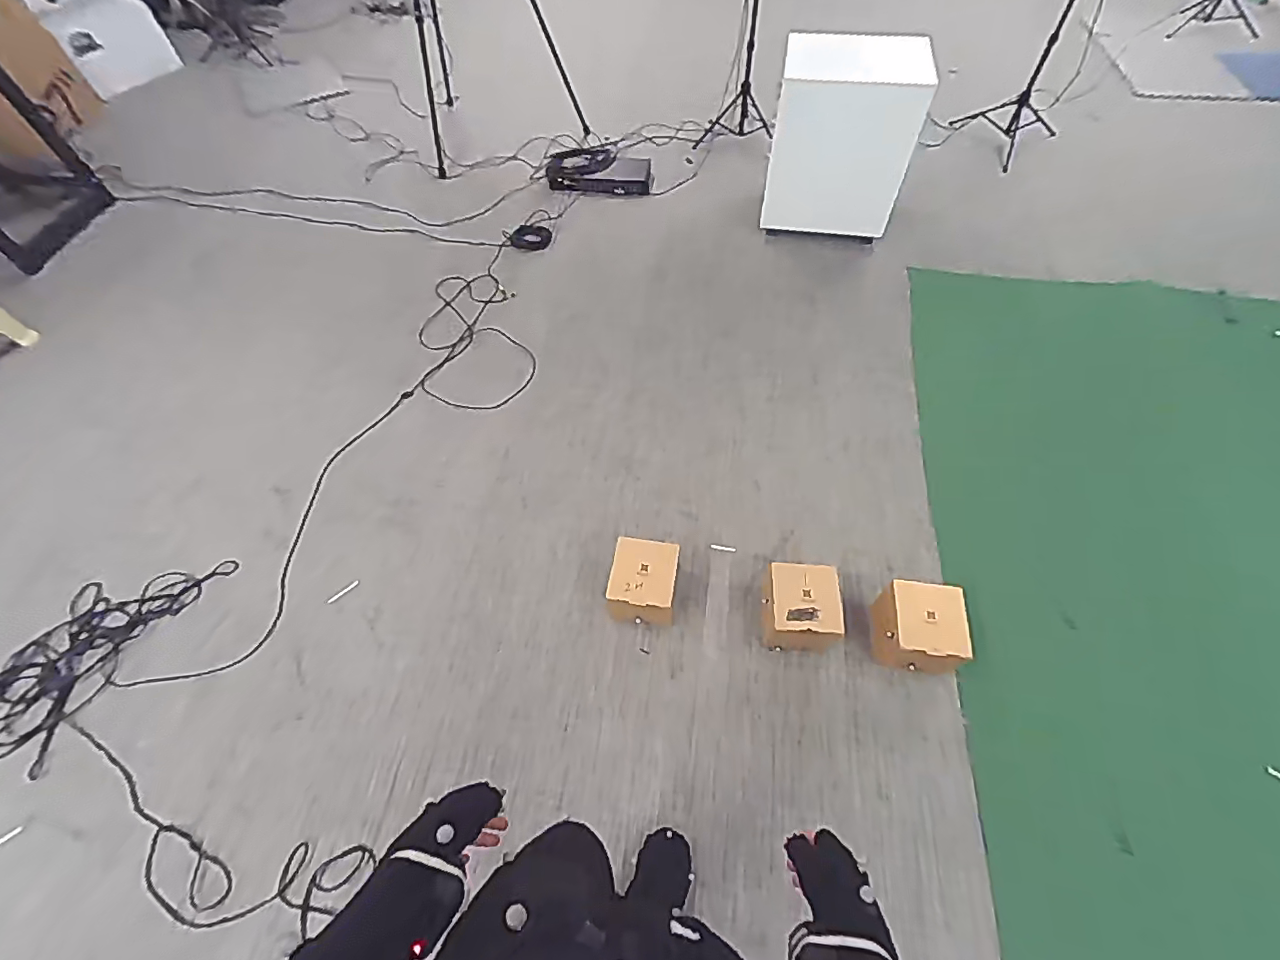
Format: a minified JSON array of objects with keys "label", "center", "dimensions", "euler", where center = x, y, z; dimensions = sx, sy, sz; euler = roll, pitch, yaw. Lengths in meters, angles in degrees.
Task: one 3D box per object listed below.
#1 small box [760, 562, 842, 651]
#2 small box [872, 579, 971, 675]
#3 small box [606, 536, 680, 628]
[{"label":"small box","center":[0.407,0.331,1.394],"dimensions":[0.168,0.176,0.179],"euler":[4,57,4]},{"label":"small box","center":[0.696,0.372,1.360],"dimensions":[0.168,0.176,0.179],"euler":[6,57,7]},{"label":"small box","center":[0.012,0.274,1.440],"dimensions":[0.168,0.176,0.179],"euler":[7,58,8]}]
